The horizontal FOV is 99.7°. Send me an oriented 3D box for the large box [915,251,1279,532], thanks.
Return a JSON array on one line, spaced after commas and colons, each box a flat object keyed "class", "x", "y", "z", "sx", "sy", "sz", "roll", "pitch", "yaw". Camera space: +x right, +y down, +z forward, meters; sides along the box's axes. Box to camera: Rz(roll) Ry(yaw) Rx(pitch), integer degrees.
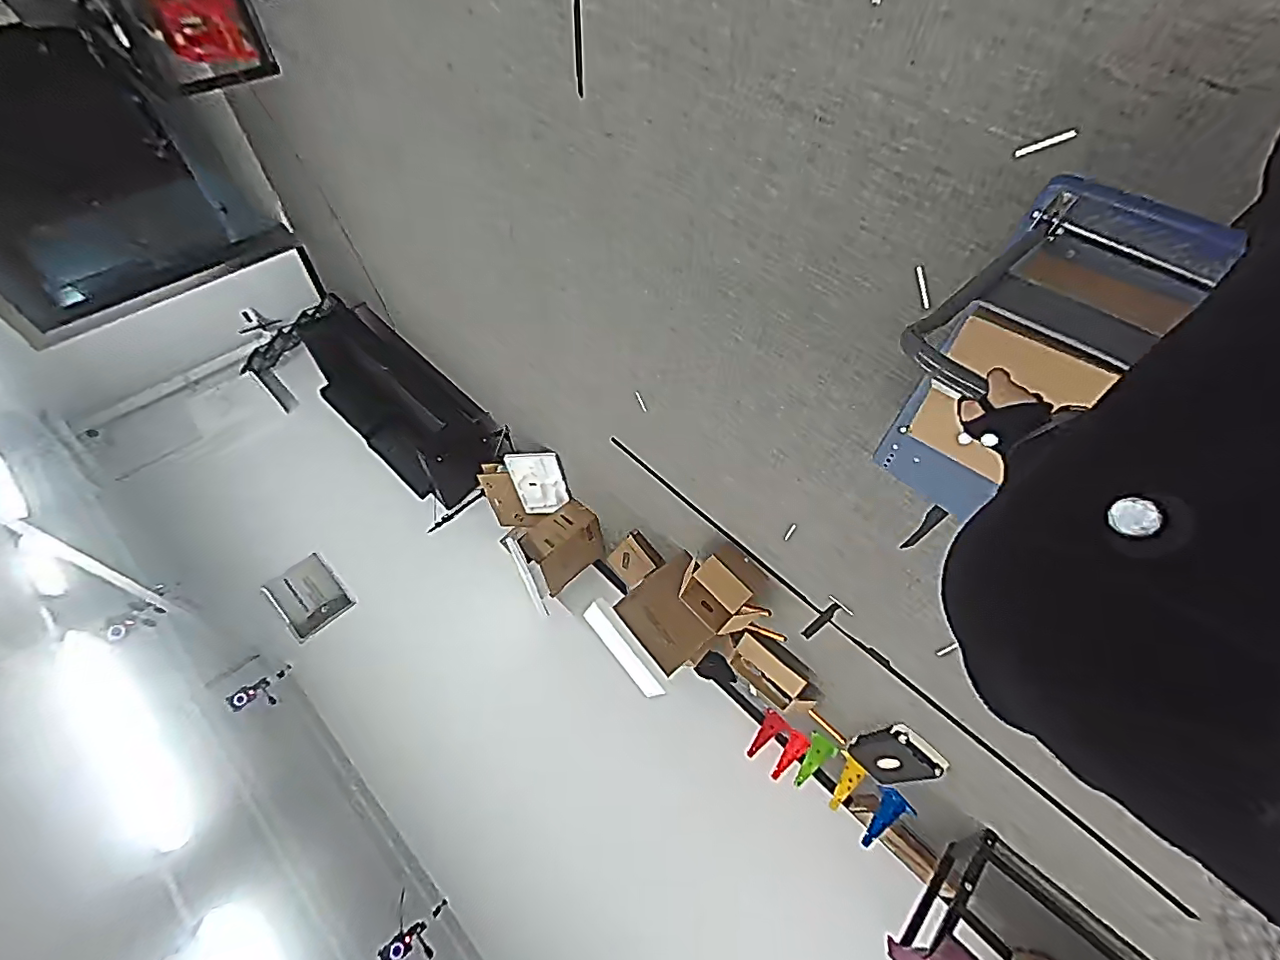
[{"class": "large box", "x": 0.848, "y": -0.183, "z": 1.050, "sx": 0.408, "sy": 0.320, "sz": 0.320, "roll": 38, "pitch": 151, "yaw": 27}]
